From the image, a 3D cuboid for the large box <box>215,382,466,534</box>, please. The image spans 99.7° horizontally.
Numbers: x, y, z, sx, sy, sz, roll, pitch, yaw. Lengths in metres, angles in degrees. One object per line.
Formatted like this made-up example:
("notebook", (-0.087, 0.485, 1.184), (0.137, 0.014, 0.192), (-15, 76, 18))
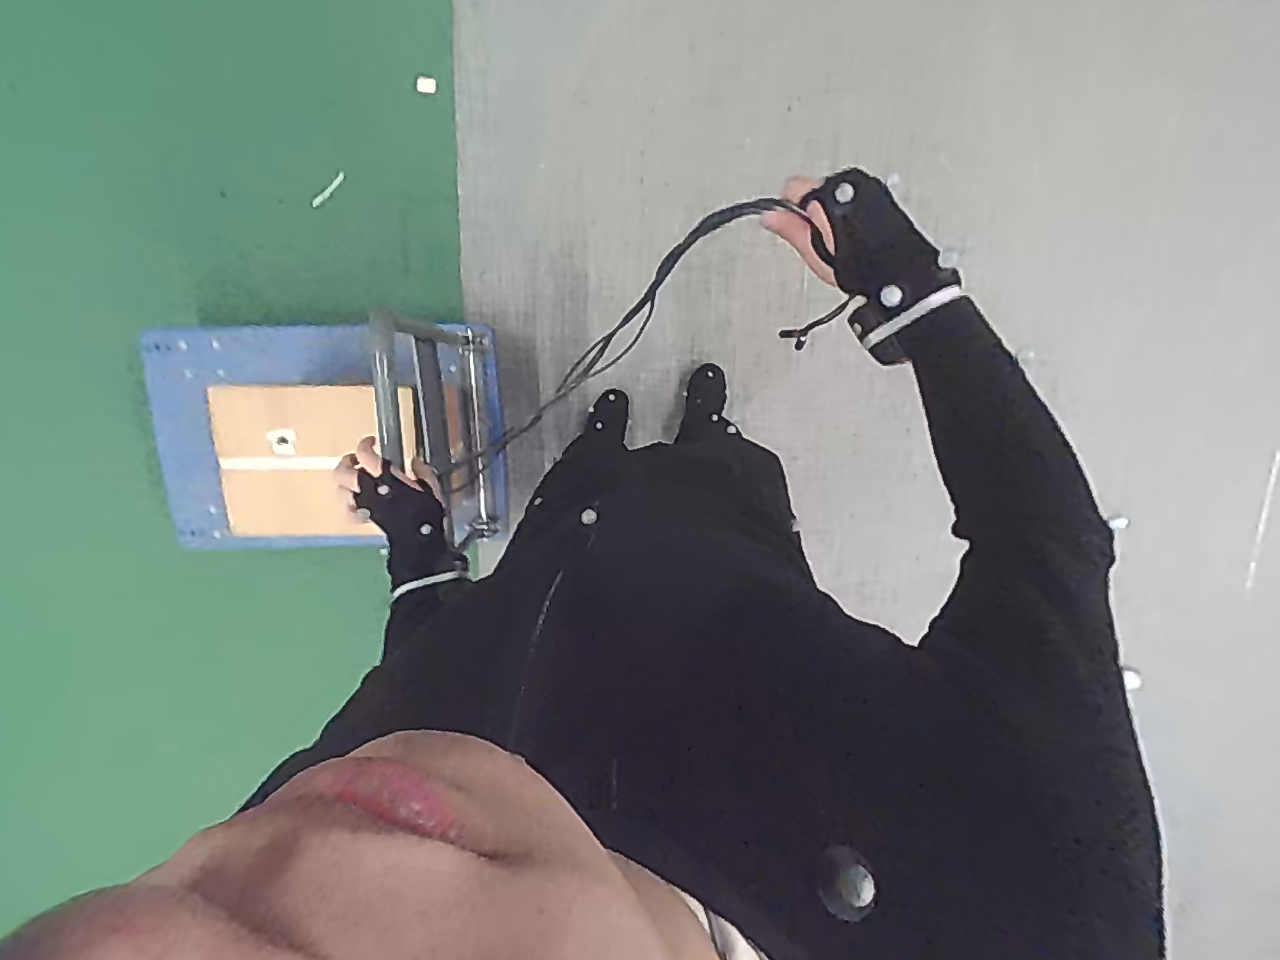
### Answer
("large box", (-0.657, -0.067, 1.261), (0.408, 0.320, 0.320), (0, 100, -2))
